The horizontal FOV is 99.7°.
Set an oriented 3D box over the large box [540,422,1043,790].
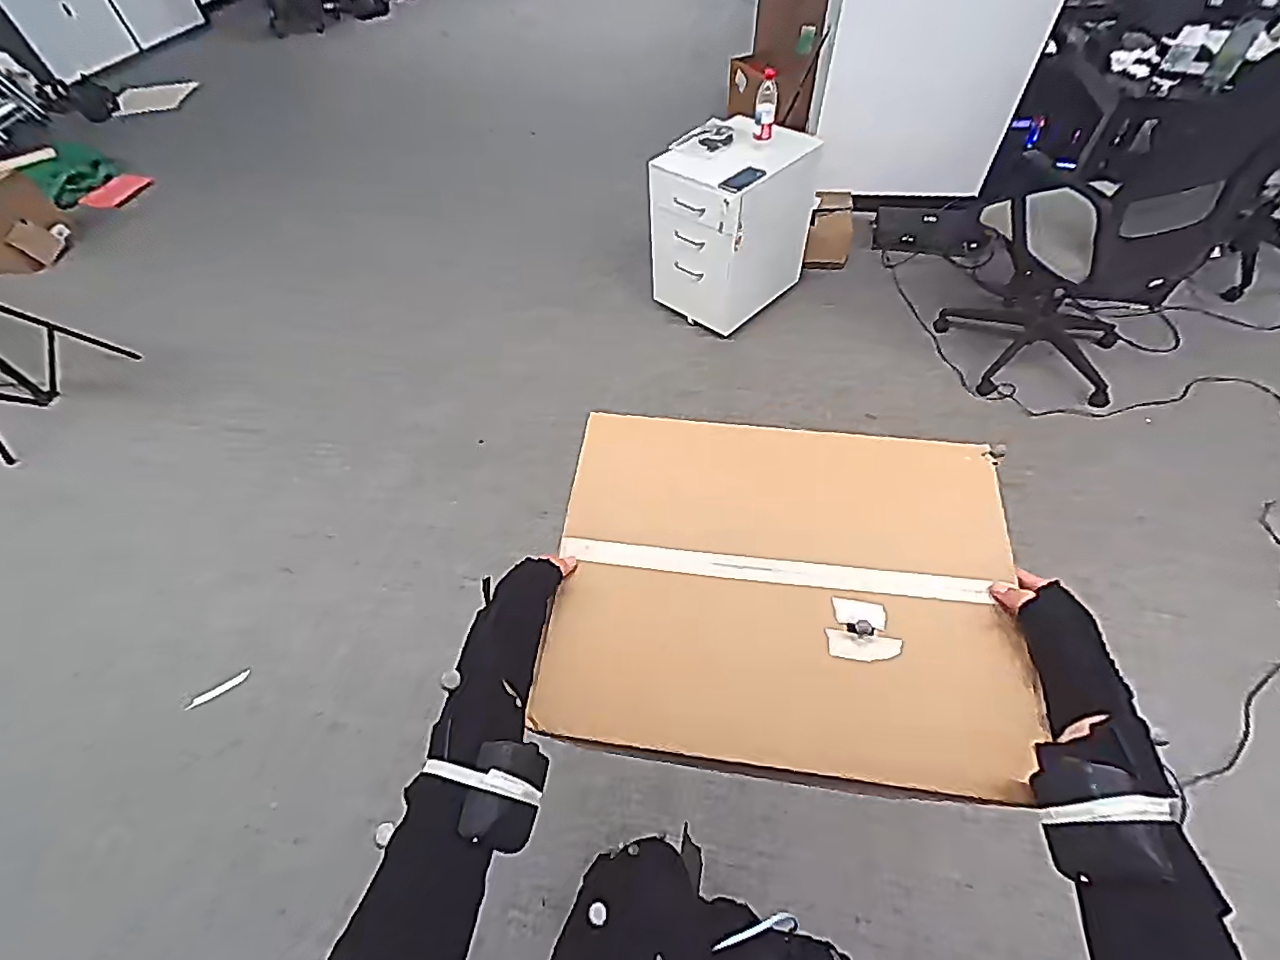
[{"bbox_3d":[0.133,0.156,0.627,0.408,0.320,0.320,5,63,6],"label":"large box"}]
